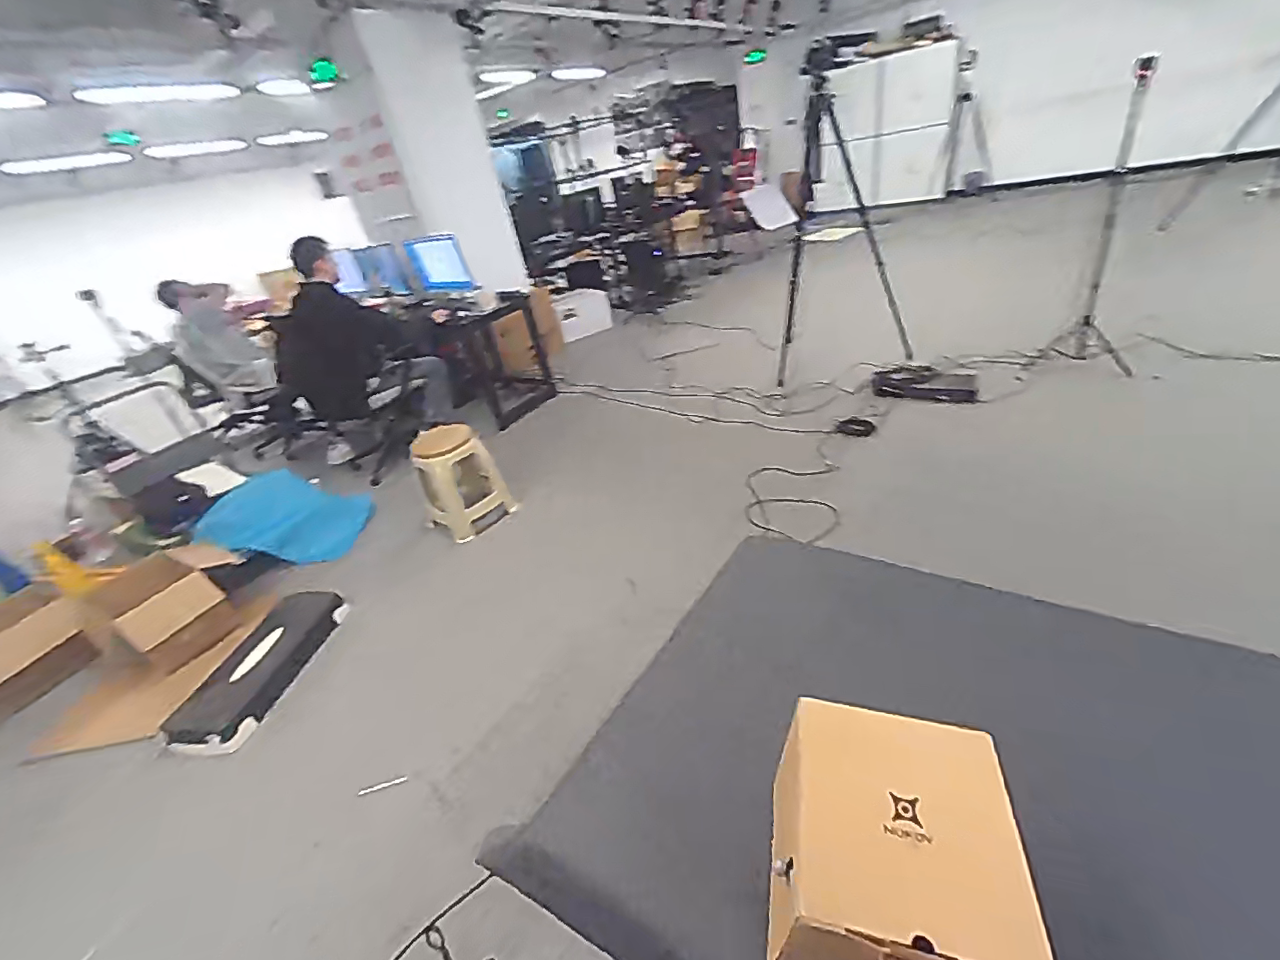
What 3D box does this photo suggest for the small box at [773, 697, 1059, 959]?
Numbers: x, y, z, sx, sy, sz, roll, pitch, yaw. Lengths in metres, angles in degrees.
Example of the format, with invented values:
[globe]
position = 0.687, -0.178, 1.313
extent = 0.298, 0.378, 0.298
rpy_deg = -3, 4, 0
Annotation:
[small box]
position = 0.211, 0.327, 0.470
extent = 0.168, 0.176, 0.179
rpy_deg = 8, 38, 11
